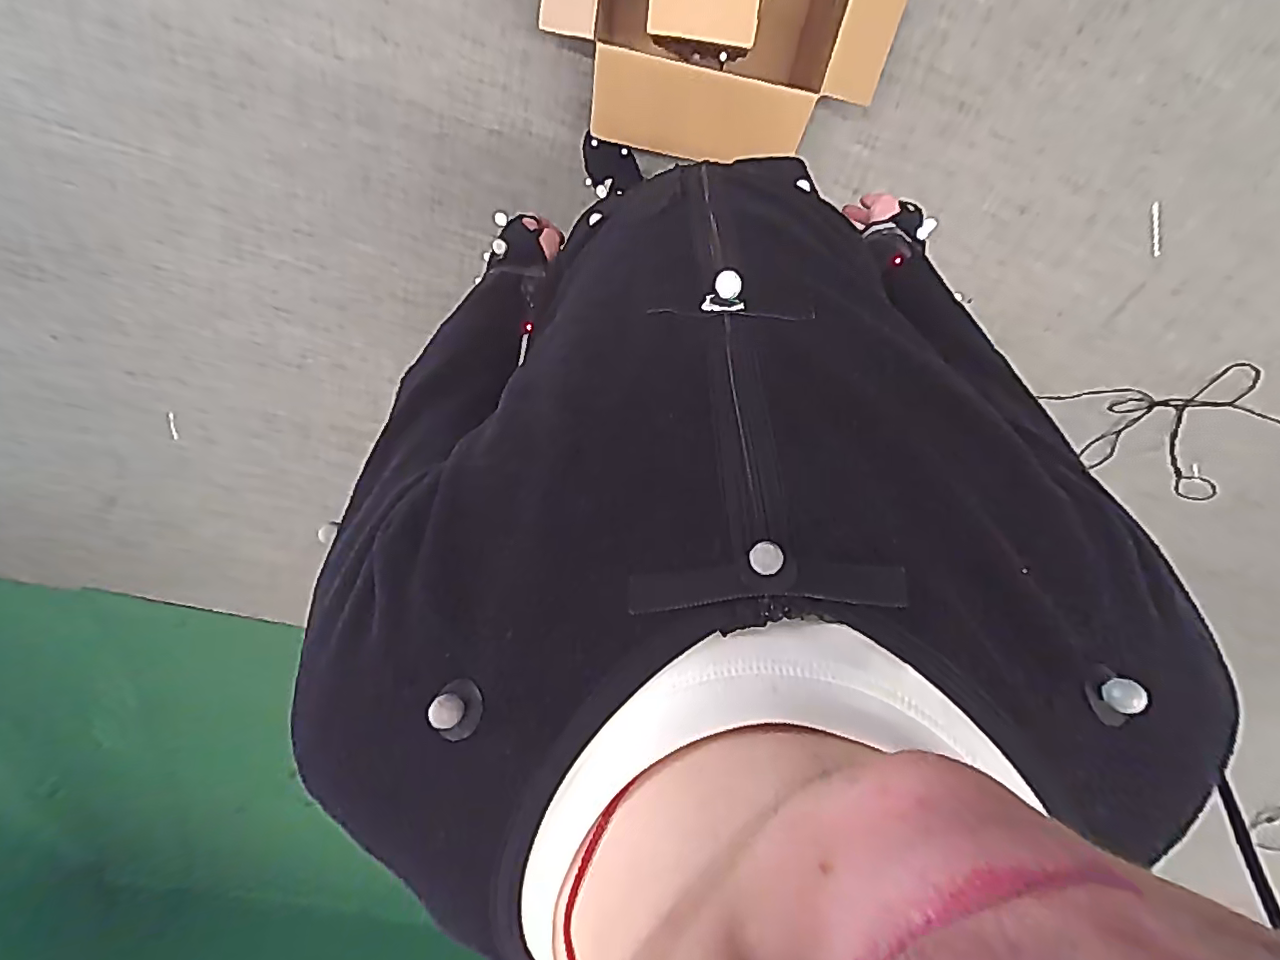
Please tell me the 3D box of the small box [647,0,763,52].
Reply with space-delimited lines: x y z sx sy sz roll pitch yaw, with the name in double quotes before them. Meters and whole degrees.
"small box" 0.115 -0.822 0.886 0.179 0.176 0.168 10 123 1
